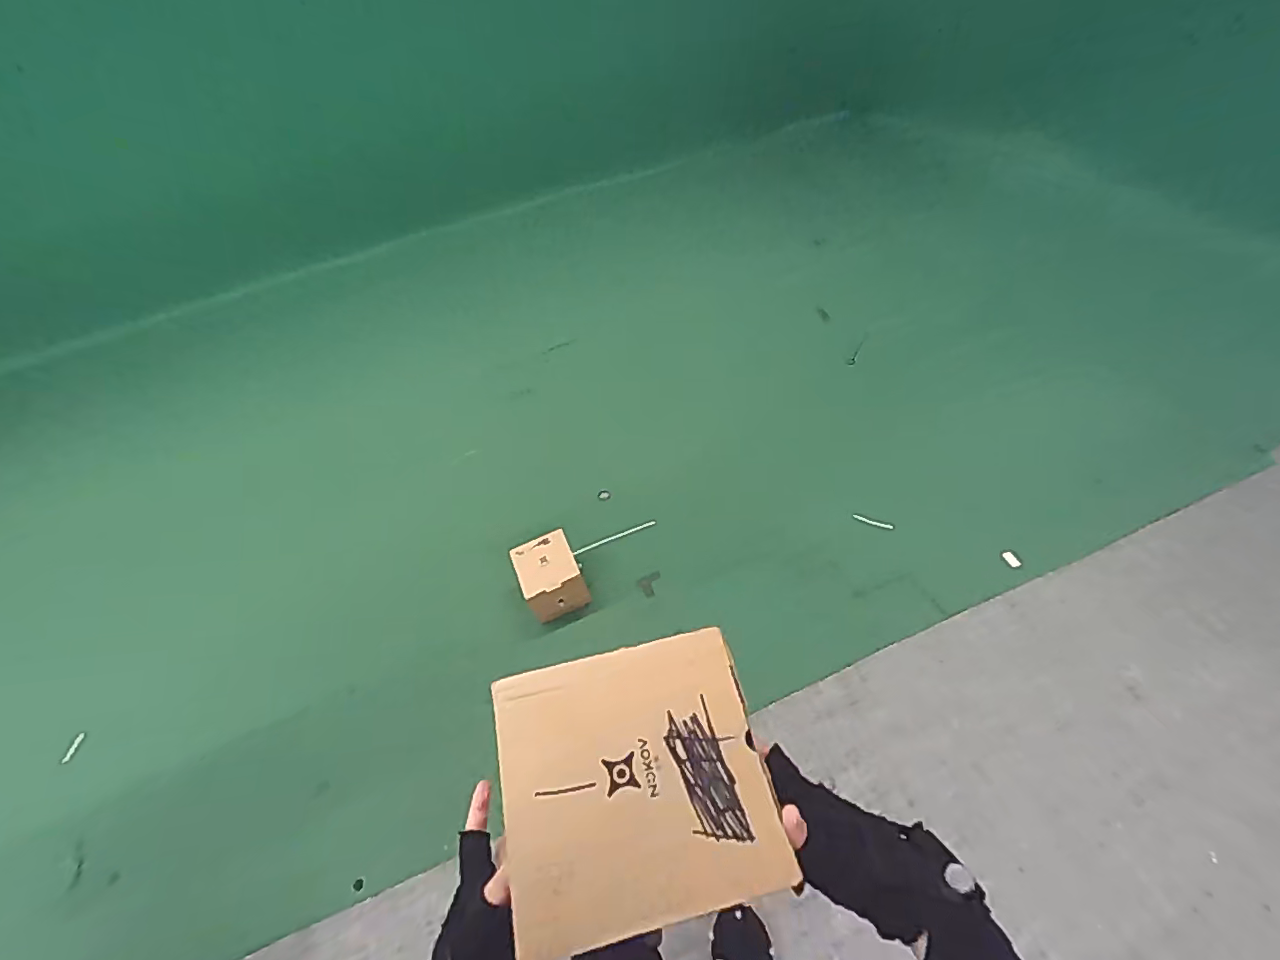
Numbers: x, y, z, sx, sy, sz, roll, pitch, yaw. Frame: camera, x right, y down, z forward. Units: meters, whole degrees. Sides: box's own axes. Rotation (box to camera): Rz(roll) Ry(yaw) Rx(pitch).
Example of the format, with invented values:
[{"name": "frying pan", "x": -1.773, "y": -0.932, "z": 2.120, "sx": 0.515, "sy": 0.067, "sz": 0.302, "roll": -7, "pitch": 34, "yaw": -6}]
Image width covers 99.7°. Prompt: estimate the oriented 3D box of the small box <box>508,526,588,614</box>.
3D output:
[{"name": "small box", "x": -0.263, "y": 0.271, "z": 1.580, "sx": 0.168, "sy": 0.176, "sz": 0.179, "roll": -23, "pitch": 54, "yaw": -9}]
